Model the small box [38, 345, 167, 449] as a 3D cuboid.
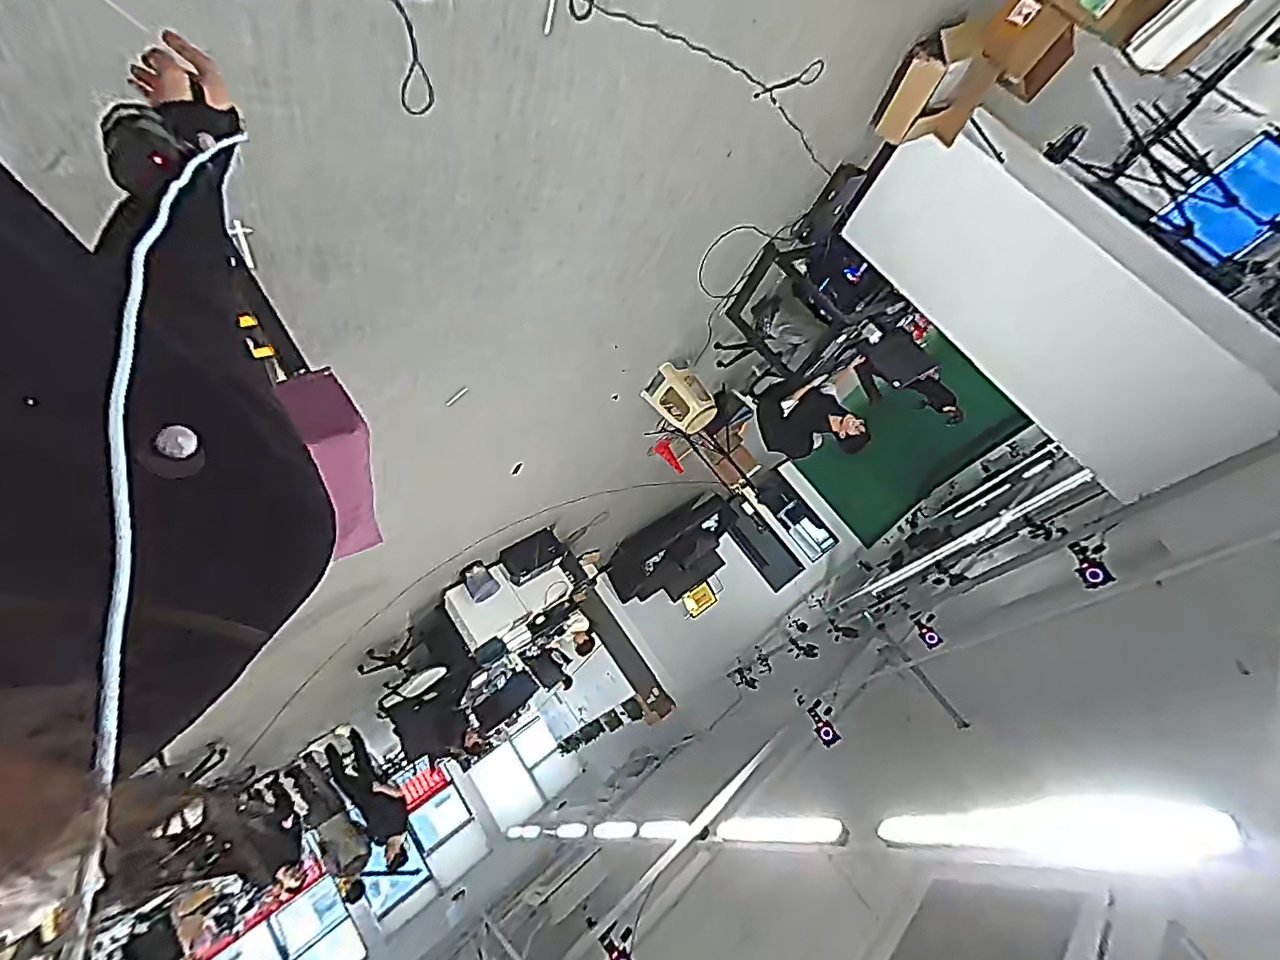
[{"bbox_3d":[-1.366,-0.214,1.374,0.179,0.176,0.168,-28,162,-33],"label":"small box"}]
